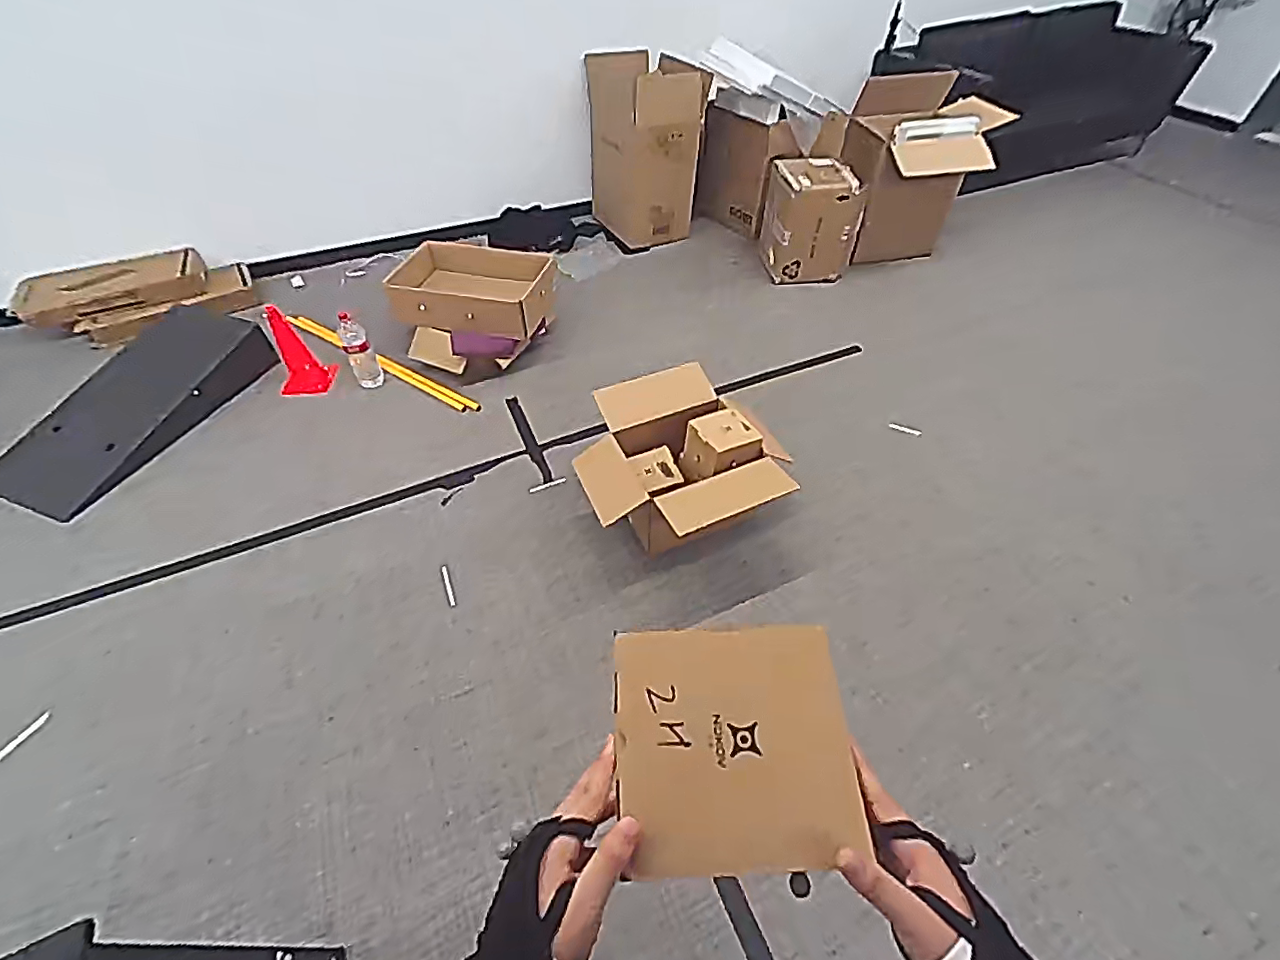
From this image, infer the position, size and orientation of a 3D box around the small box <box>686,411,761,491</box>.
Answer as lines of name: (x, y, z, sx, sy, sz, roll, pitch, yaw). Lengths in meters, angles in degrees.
small box: (0.258, -0.090, 1.722, 0.179, 0.176, 0.168, -19, 50, -21)

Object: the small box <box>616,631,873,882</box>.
small box: (0.068, 0.238, 0.471, 0.179, 0.176, 0.168, -2, 57, -1)
